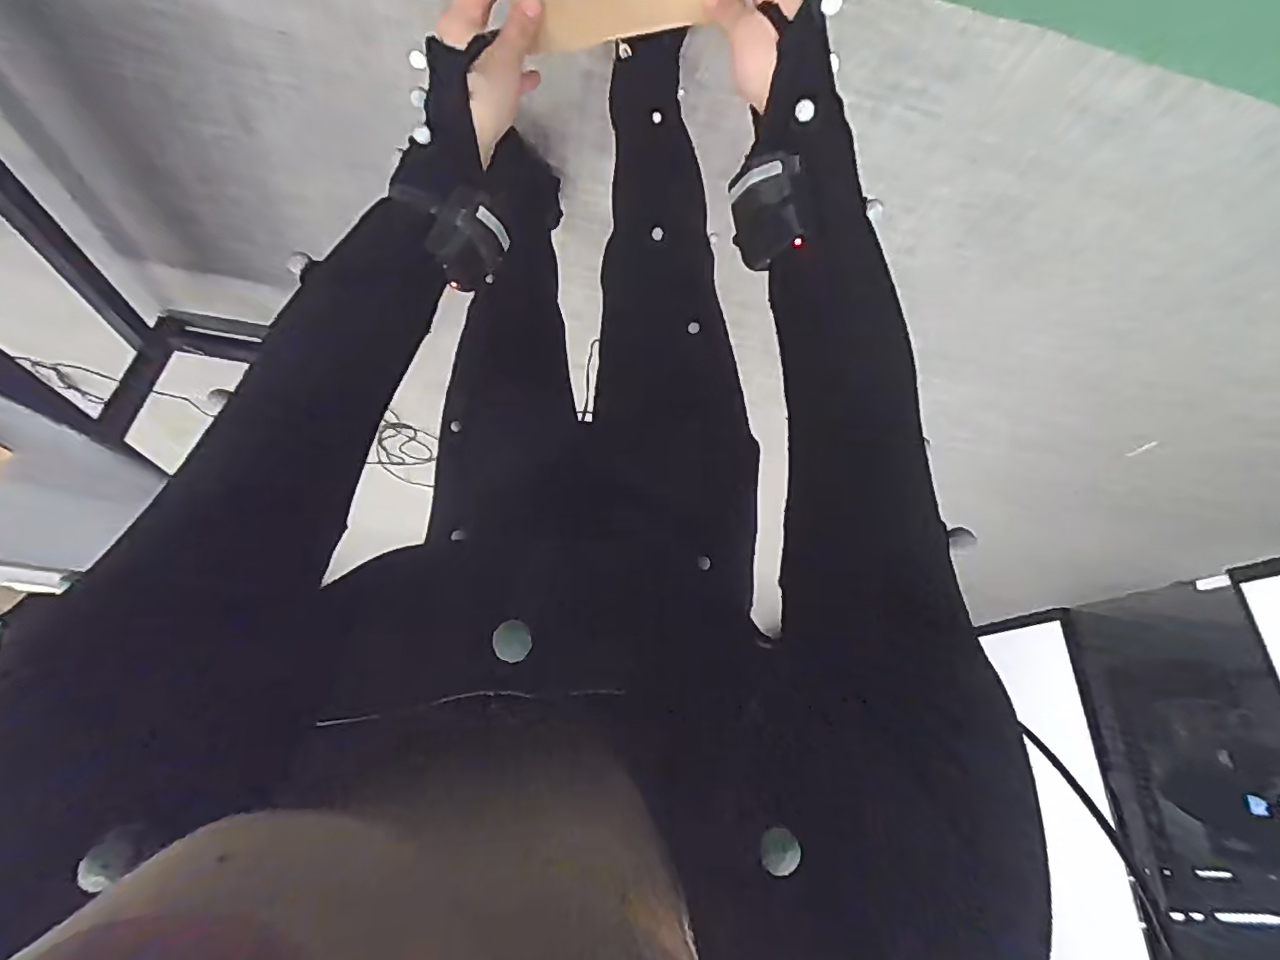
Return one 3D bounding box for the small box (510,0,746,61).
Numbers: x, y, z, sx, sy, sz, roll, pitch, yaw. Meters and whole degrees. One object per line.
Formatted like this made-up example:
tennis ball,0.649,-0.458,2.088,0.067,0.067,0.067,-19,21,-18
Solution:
small box,-0.016,-0.450,0.386,0.179,0.176,0.168,-2,154,10
